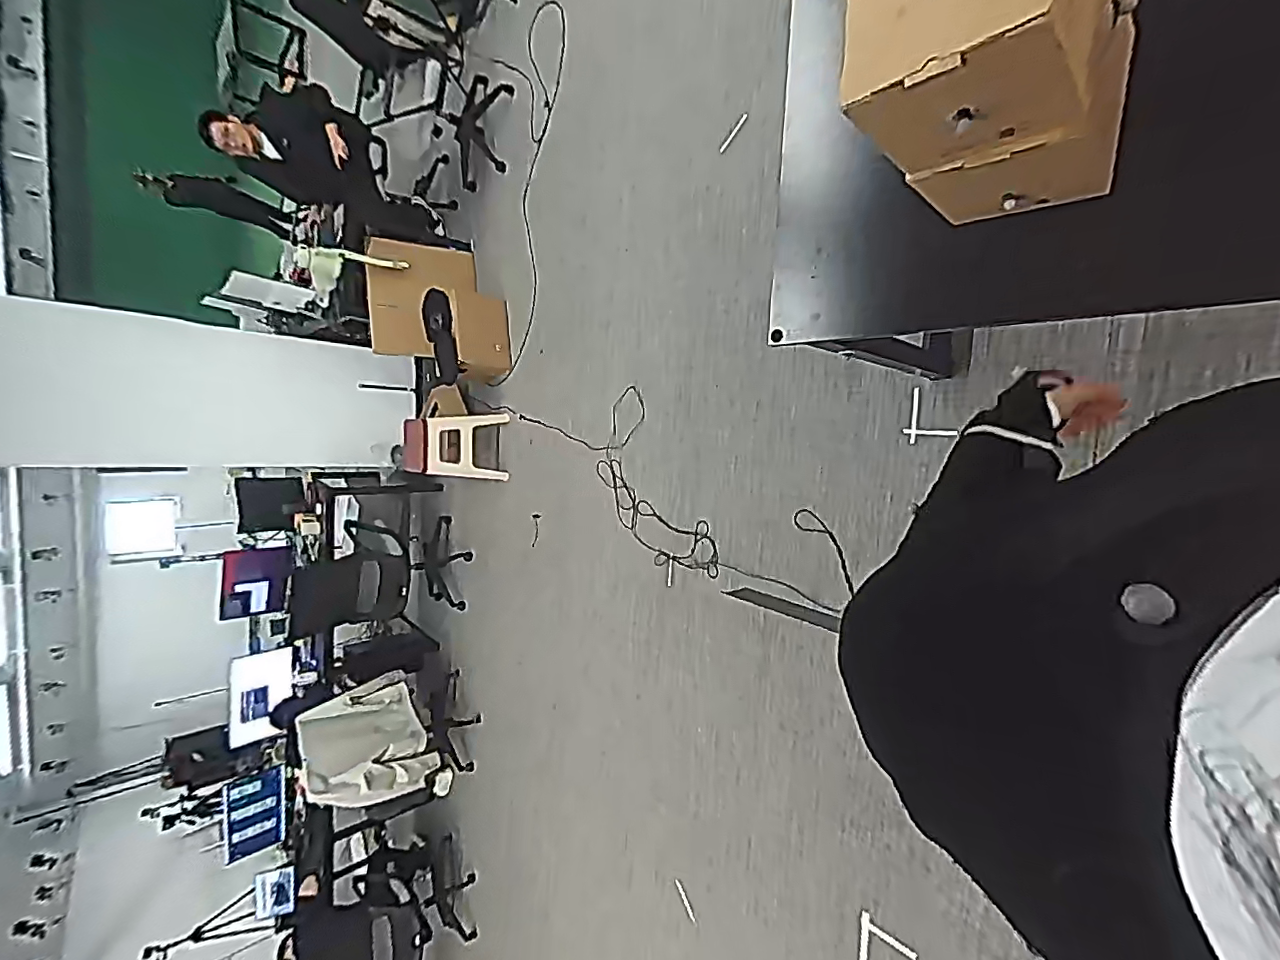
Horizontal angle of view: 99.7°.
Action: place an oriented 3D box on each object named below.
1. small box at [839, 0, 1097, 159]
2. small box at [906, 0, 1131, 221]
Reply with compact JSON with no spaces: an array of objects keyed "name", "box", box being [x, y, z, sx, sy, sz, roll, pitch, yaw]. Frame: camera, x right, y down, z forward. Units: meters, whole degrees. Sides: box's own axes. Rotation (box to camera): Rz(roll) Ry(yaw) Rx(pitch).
[{"name":"small box","box":[0.305,-0.428,0.500,0.168,0.176,0.179,6,97,47]},{"name":"small box","box":[0.426,-0.422,0.609,0.168,0.176,0.179,11,99,47]}]
